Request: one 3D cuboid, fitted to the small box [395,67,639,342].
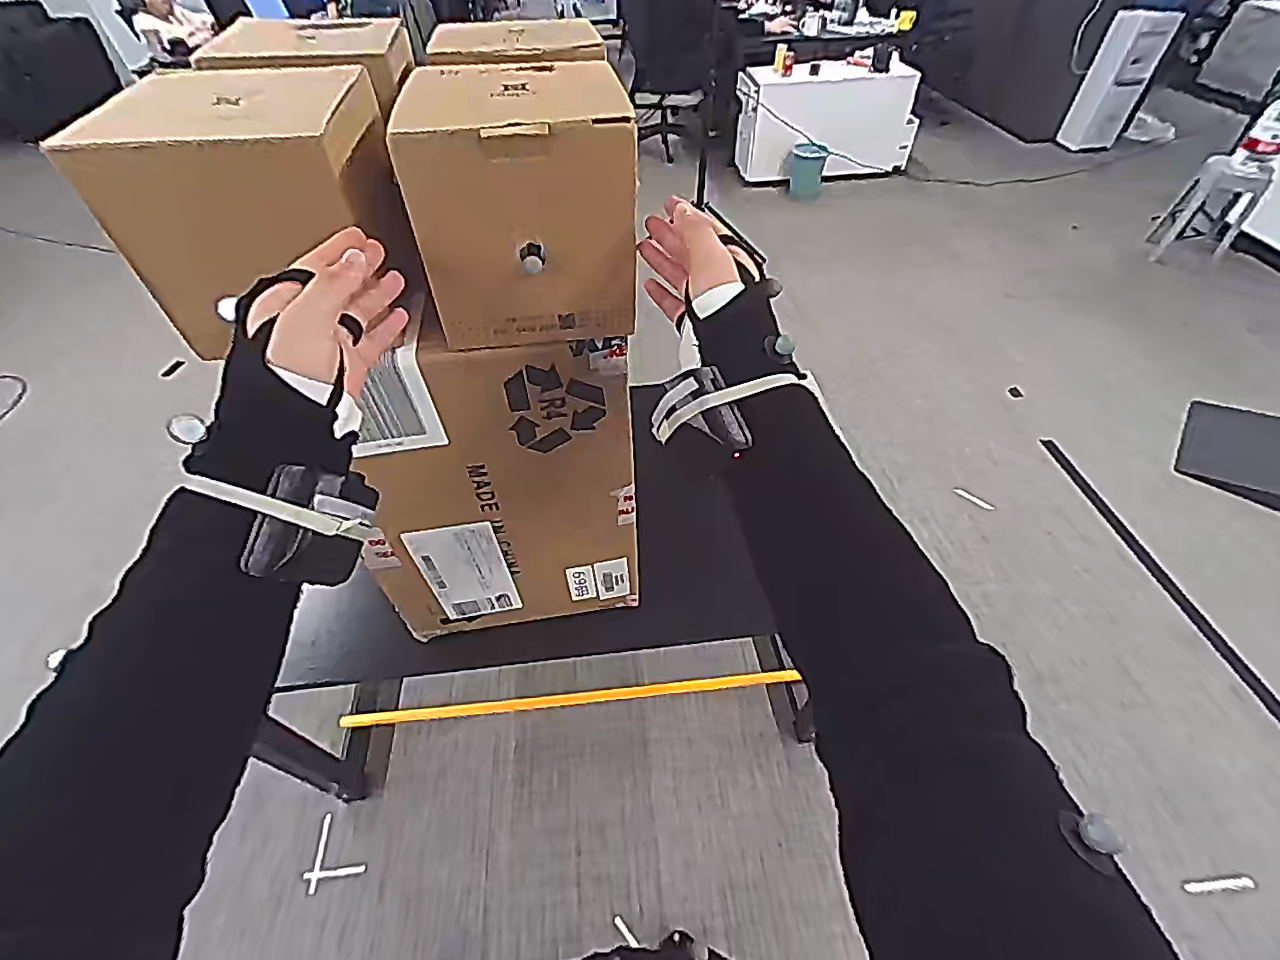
[{"bbox_3d":[-0.092,-0.234,0.470,0.168,0.176,0.179,-5,49,-7],"label":"small box"}]
